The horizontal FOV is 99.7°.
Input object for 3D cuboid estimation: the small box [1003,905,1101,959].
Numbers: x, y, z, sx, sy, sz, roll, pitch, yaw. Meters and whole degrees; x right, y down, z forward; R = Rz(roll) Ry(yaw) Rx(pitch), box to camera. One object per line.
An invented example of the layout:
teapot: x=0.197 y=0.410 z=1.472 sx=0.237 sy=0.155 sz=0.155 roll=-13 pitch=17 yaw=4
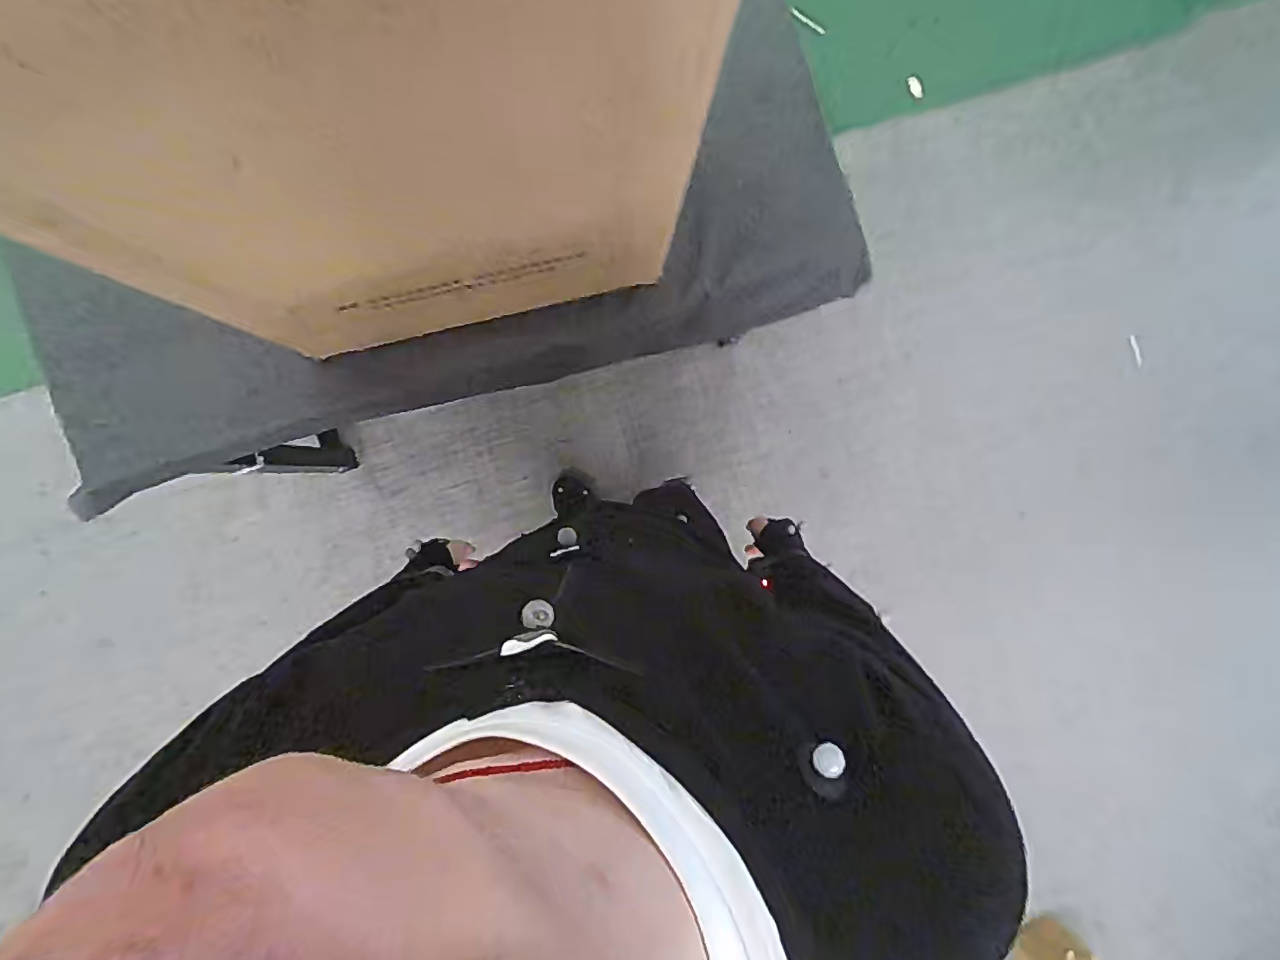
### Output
small box: x=1.213 y=1.410 z=1.581 sx=0.168 sy=0.176 sz=0.179 roll=-18 pitch=92 yaw=-4
